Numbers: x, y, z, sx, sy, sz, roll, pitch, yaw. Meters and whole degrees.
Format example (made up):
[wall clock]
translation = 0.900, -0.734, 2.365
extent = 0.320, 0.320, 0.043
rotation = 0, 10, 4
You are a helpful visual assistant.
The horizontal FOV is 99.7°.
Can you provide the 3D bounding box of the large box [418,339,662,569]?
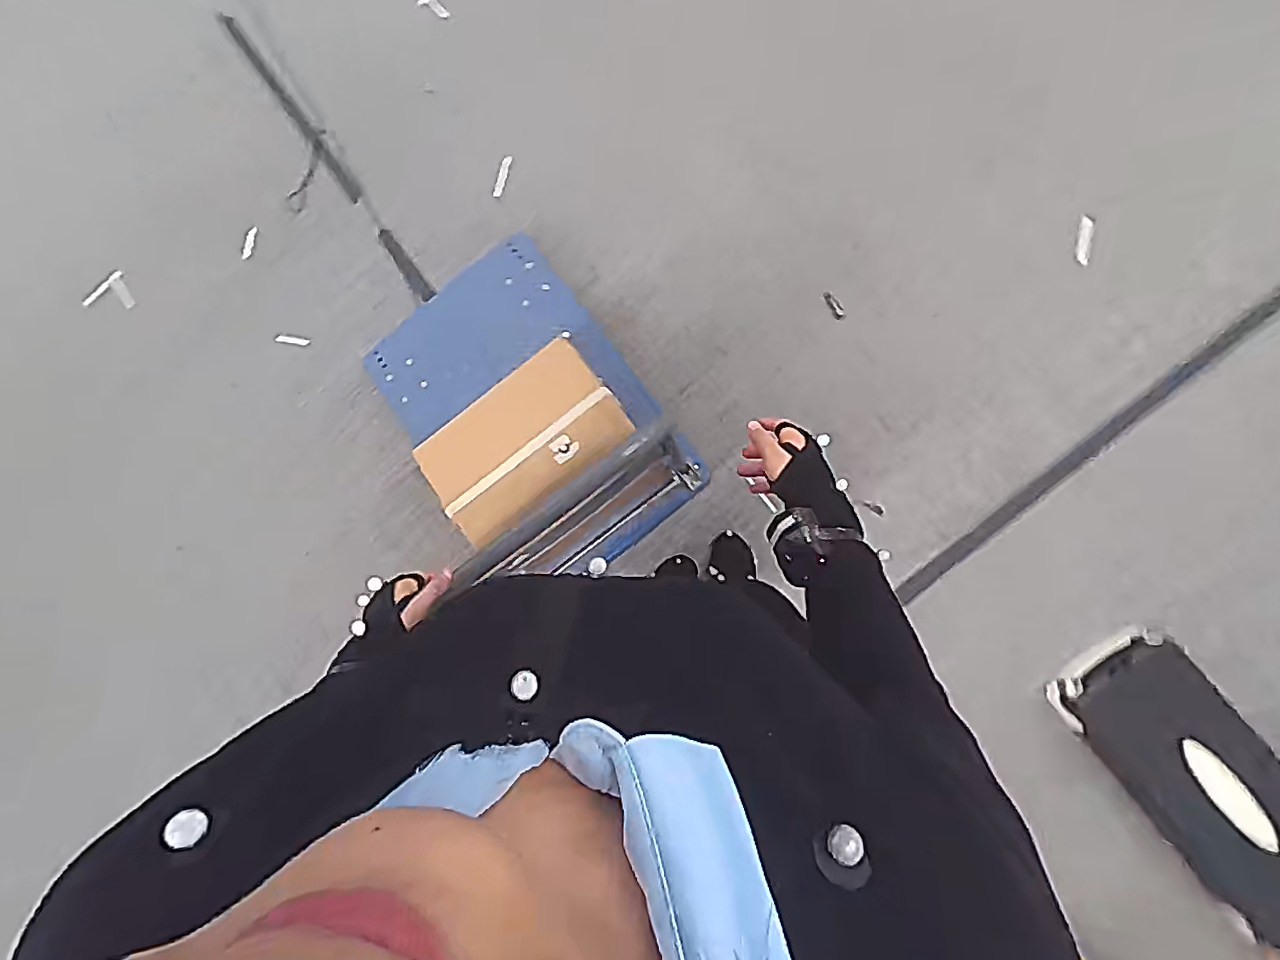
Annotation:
[large box]
translation = -0.205, -0.036, 1.246
extent = 0.408, 0.320, 0.320
rotation = -37, 80, 2
